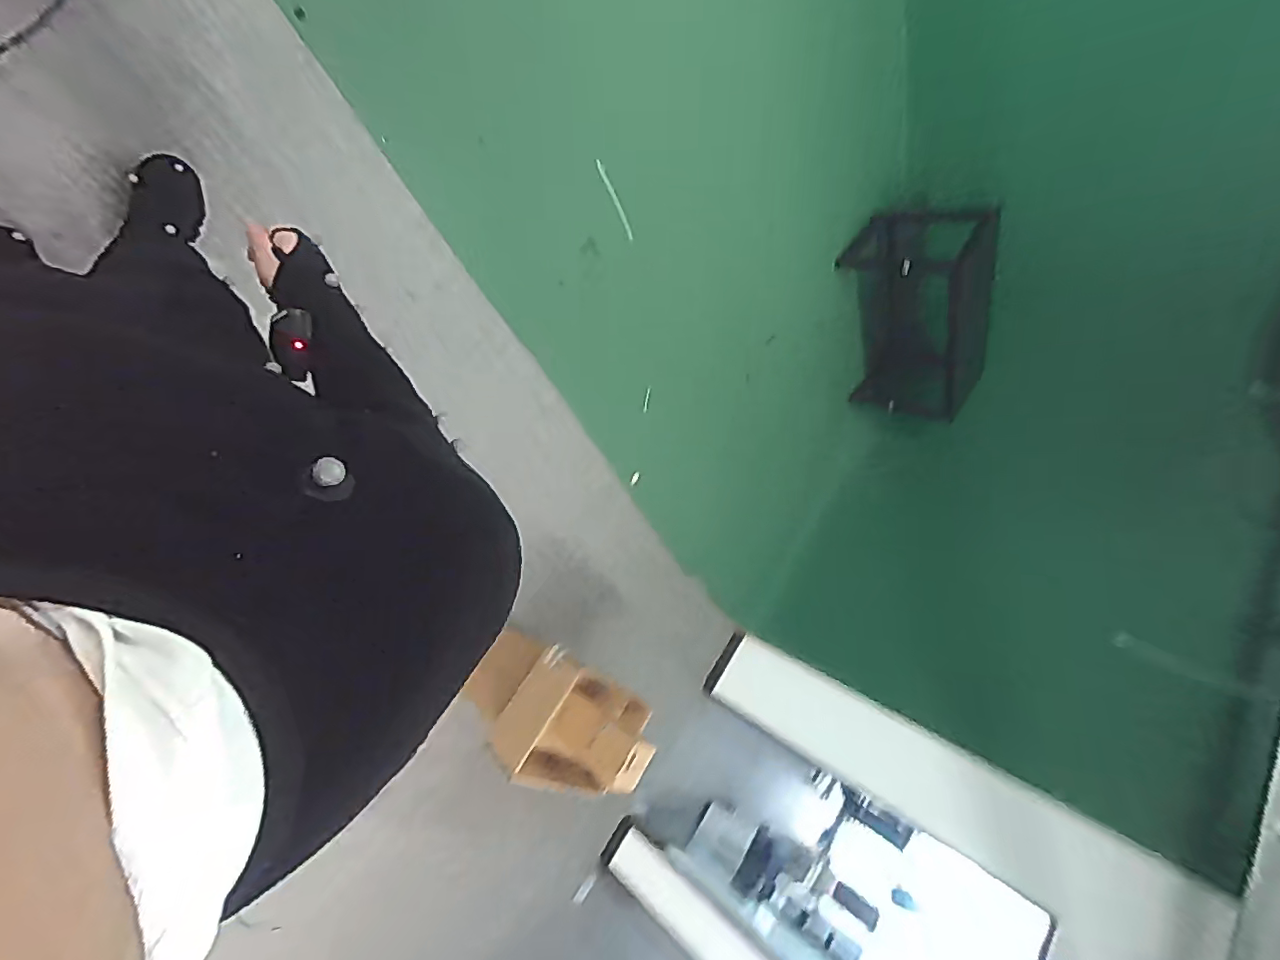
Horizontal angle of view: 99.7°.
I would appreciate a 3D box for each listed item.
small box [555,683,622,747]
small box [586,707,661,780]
[{"bbox_3d":[-0.182,0.884,2.018,0.168,0.176,0.179,-56,141,-16],"label":"small box"},{"bbox_3d":[-0.061,0.932,1.919,0.168,0.176,0.179,-57,142,-14],"label":"small box"}]
